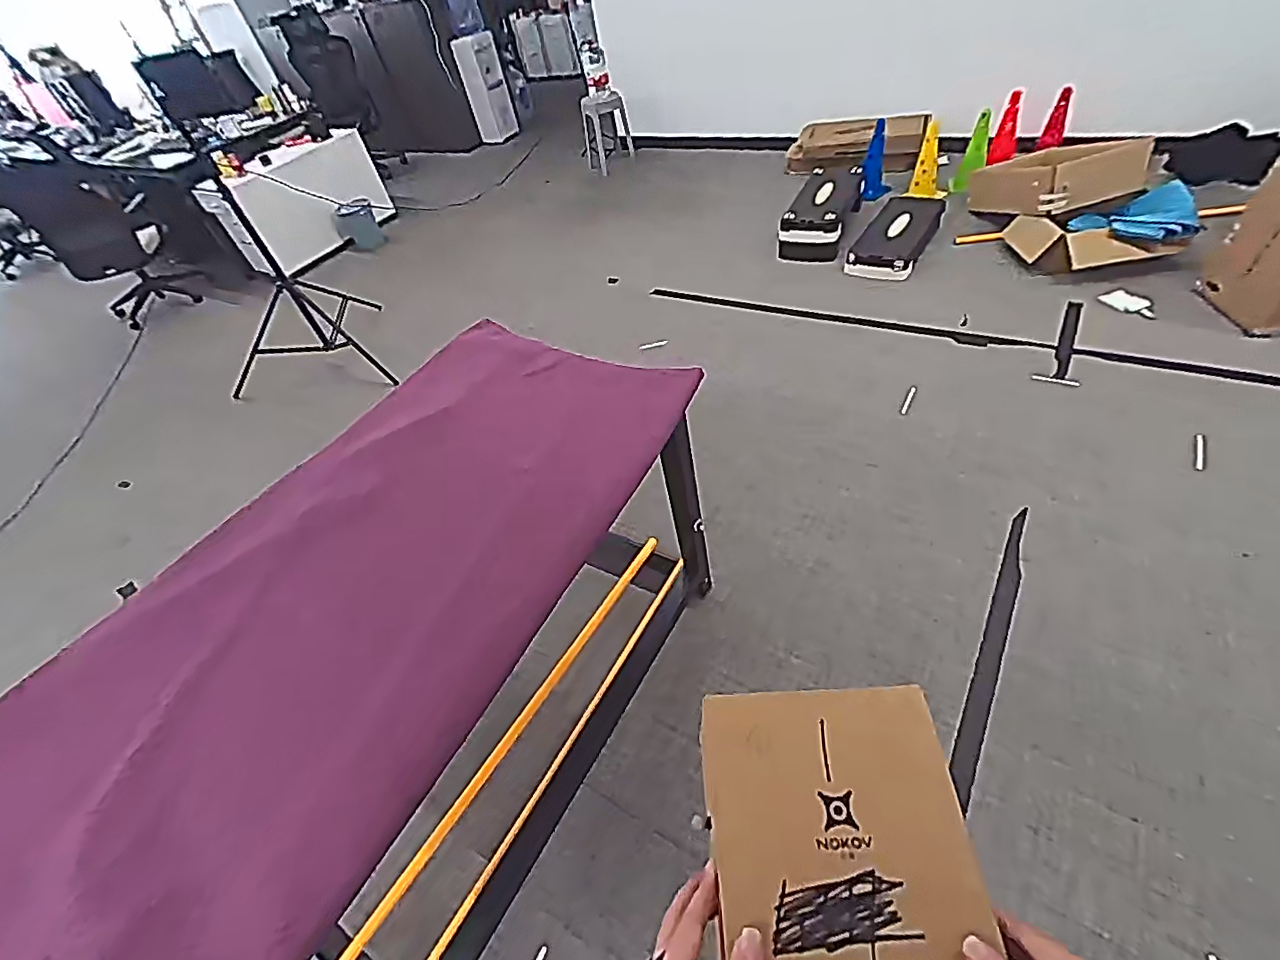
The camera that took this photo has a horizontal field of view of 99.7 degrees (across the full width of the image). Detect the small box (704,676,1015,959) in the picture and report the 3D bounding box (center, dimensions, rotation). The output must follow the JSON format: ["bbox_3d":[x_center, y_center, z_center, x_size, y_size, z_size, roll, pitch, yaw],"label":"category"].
[{"bbox_3d":[0.139,0.266,0.419,0.168,0.176,0.179,-4,54,2],"label":"small box"}]
